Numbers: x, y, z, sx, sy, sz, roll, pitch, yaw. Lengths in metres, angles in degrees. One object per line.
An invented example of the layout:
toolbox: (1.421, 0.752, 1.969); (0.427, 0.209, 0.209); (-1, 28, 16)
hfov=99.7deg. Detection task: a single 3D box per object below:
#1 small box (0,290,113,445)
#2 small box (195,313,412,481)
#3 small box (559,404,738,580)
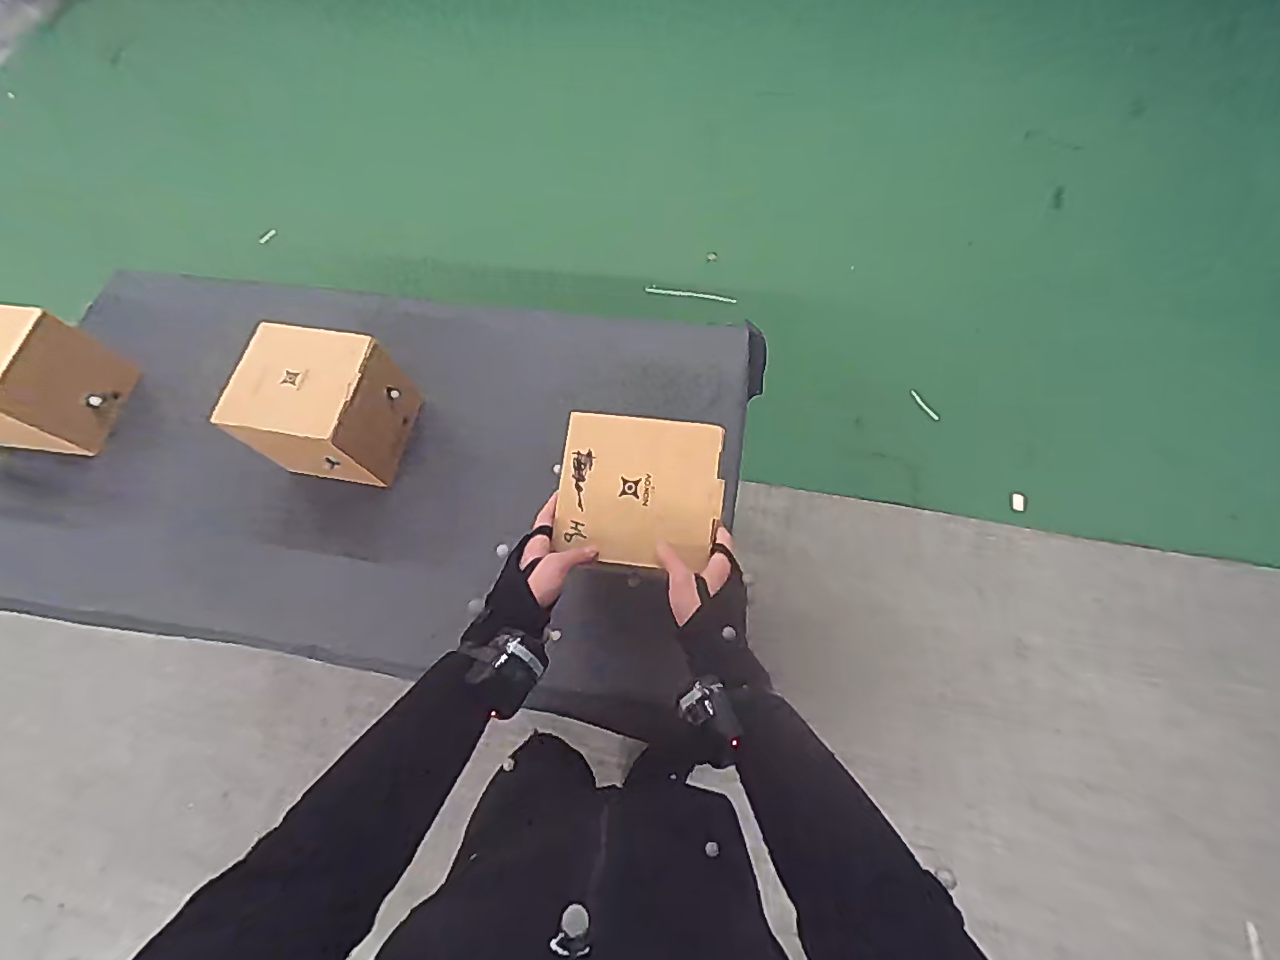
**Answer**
small box: (-0.958, -0.164, 0.790); (0.179, 0.176, 0.168); (7, 68, 1)
small box: (-0.457, -0.110, 0.772); (0.179, 0.176, 0.168); (8, 66, 5)
small box: (0.010, 0.025, 0.654); (0.179, 0.176, 0.168); (8, 75, 1)
